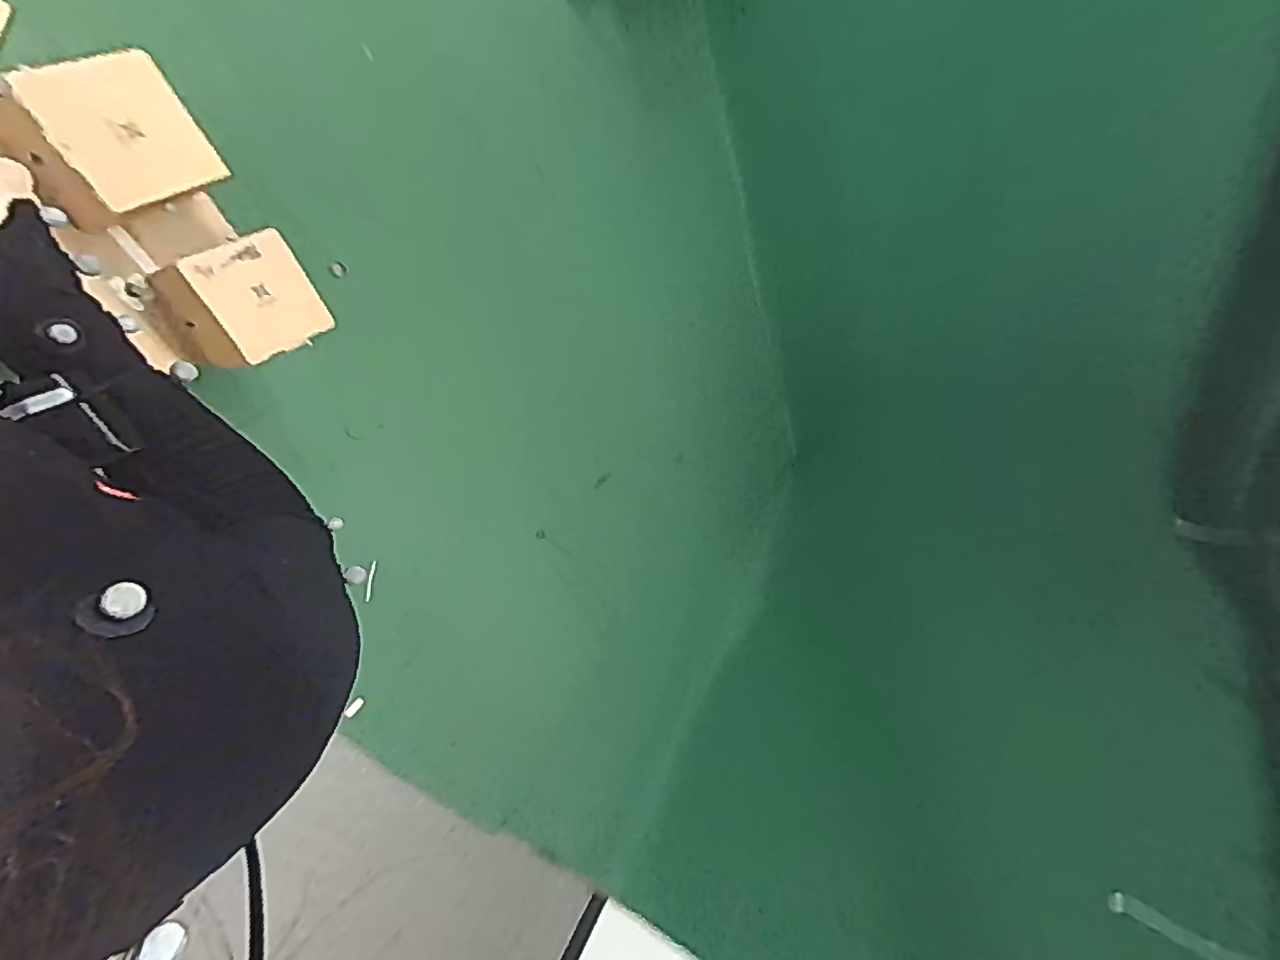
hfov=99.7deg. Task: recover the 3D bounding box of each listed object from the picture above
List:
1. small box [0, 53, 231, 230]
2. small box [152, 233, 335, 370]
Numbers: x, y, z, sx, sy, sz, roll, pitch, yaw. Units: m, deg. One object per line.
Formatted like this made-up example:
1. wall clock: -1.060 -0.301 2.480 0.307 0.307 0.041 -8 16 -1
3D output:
1. small box: -0.769 -0.490 0.794 0.179 0.176 0.168 -52 135 -35
2. small box: -0.683 -0.306 0.939 0.168 0.176 0.179 -48 131 -38
